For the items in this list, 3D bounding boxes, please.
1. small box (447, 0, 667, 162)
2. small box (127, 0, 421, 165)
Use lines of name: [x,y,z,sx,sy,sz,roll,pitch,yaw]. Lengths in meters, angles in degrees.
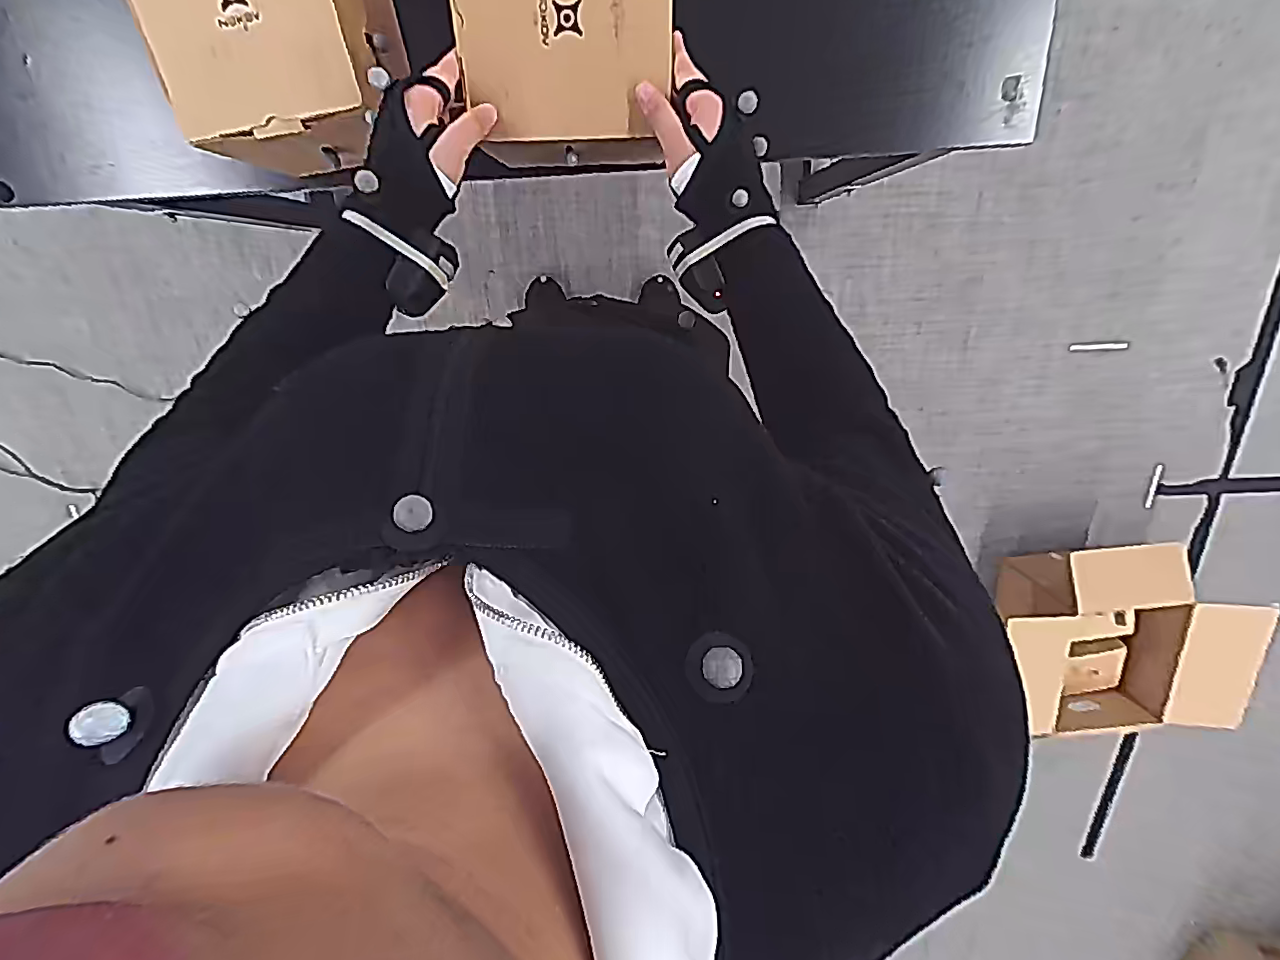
small box: [-0.065,-0.400,0.499,0.179,0.176,0.168,-2,114,0]
small box: [-0.334,-0.417,0.515,0.168,0.176,0.179,-9,111,2]
